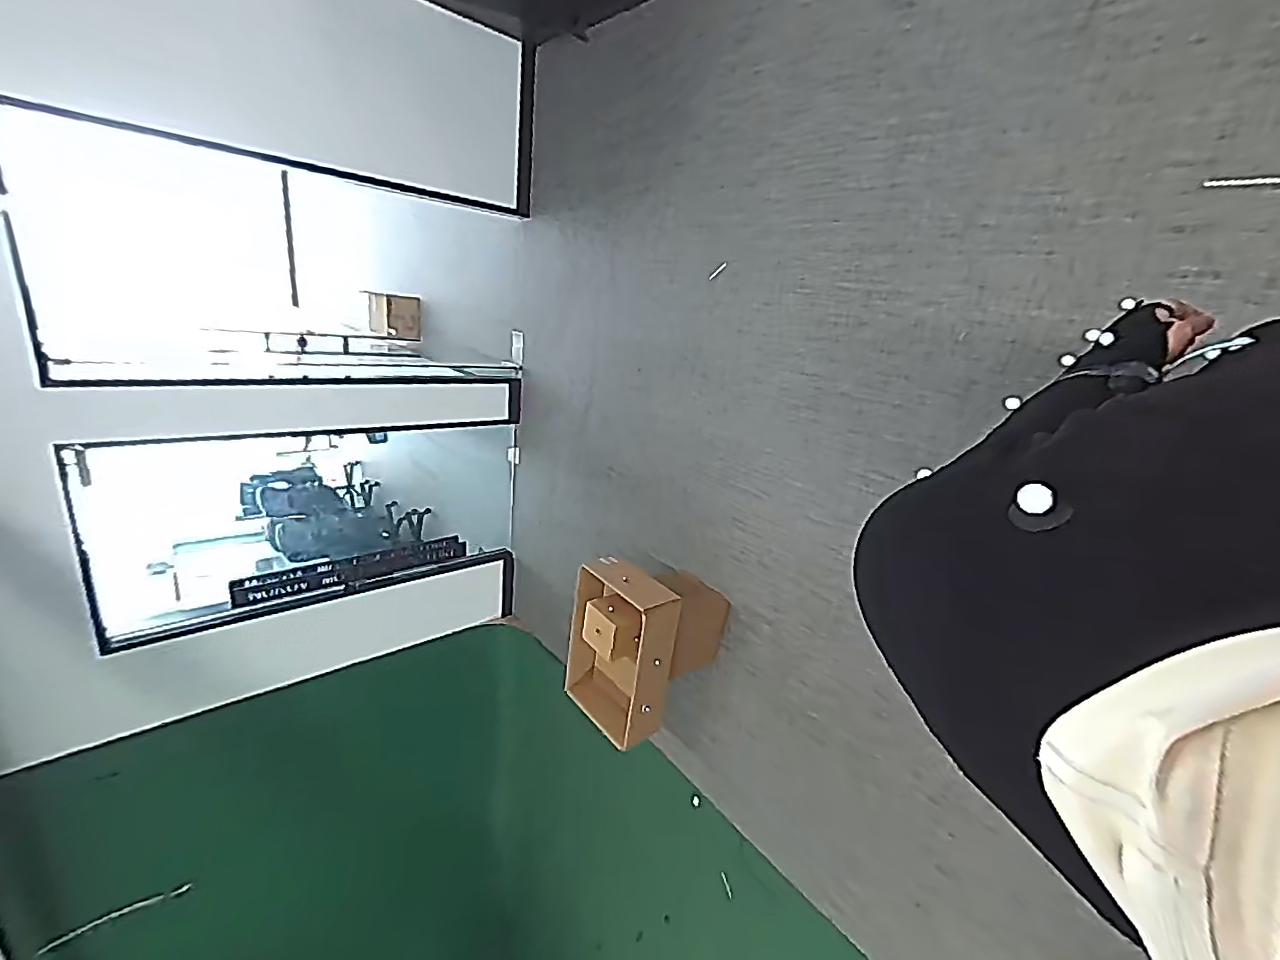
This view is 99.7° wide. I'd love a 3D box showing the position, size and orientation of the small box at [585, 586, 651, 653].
[{"bbox_3d":[-0.084,0.519,2.047,0.179,0.176,0.168,28,117,42],"label":"small box"}]
